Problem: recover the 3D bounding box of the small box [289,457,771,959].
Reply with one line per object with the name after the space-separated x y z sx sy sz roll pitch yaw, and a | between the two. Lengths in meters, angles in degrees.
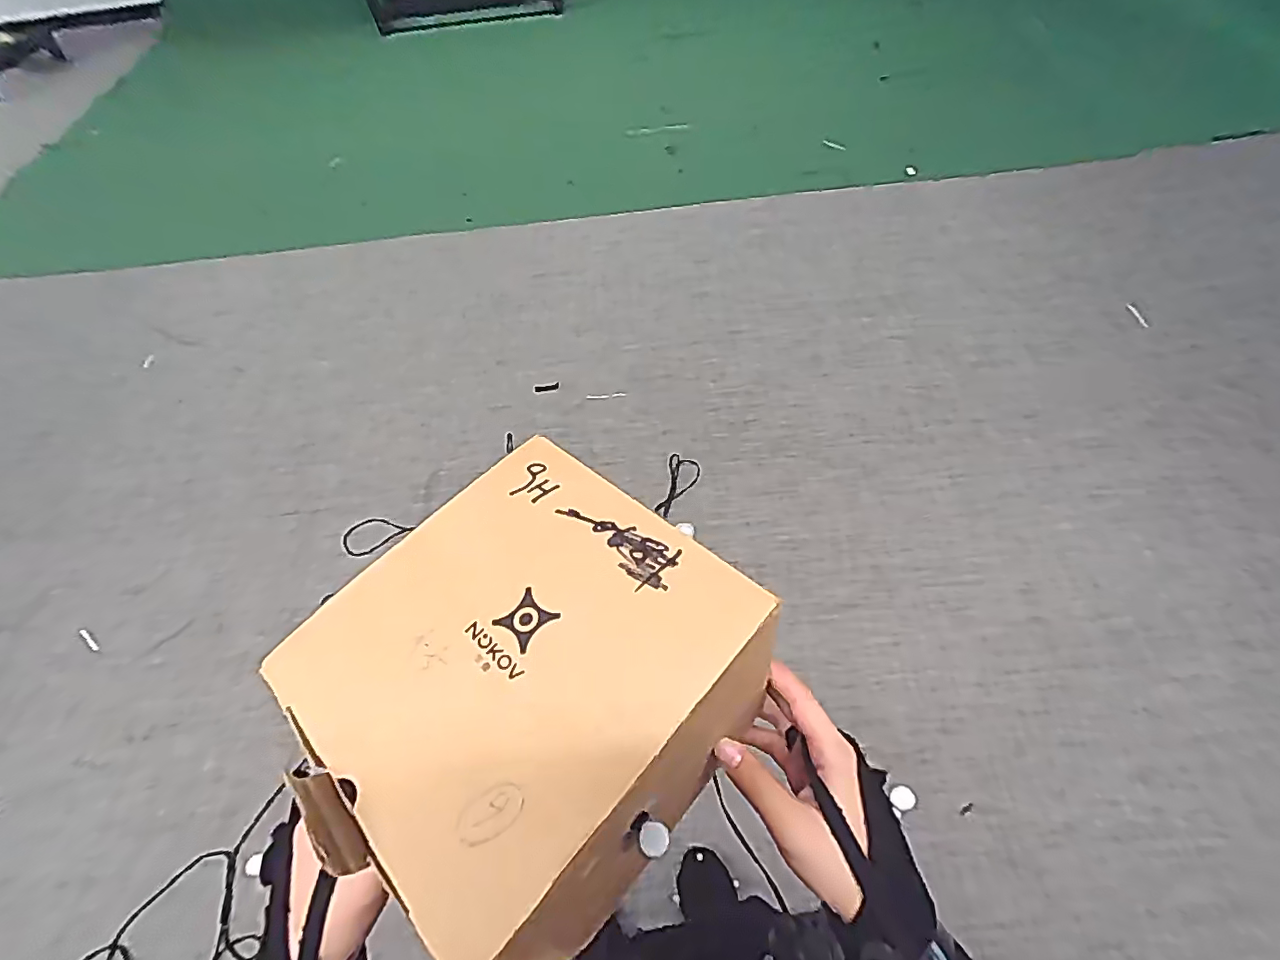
-0.042 0.127 0.312 0.168 0.176 0.179 33 65 29 | small box
